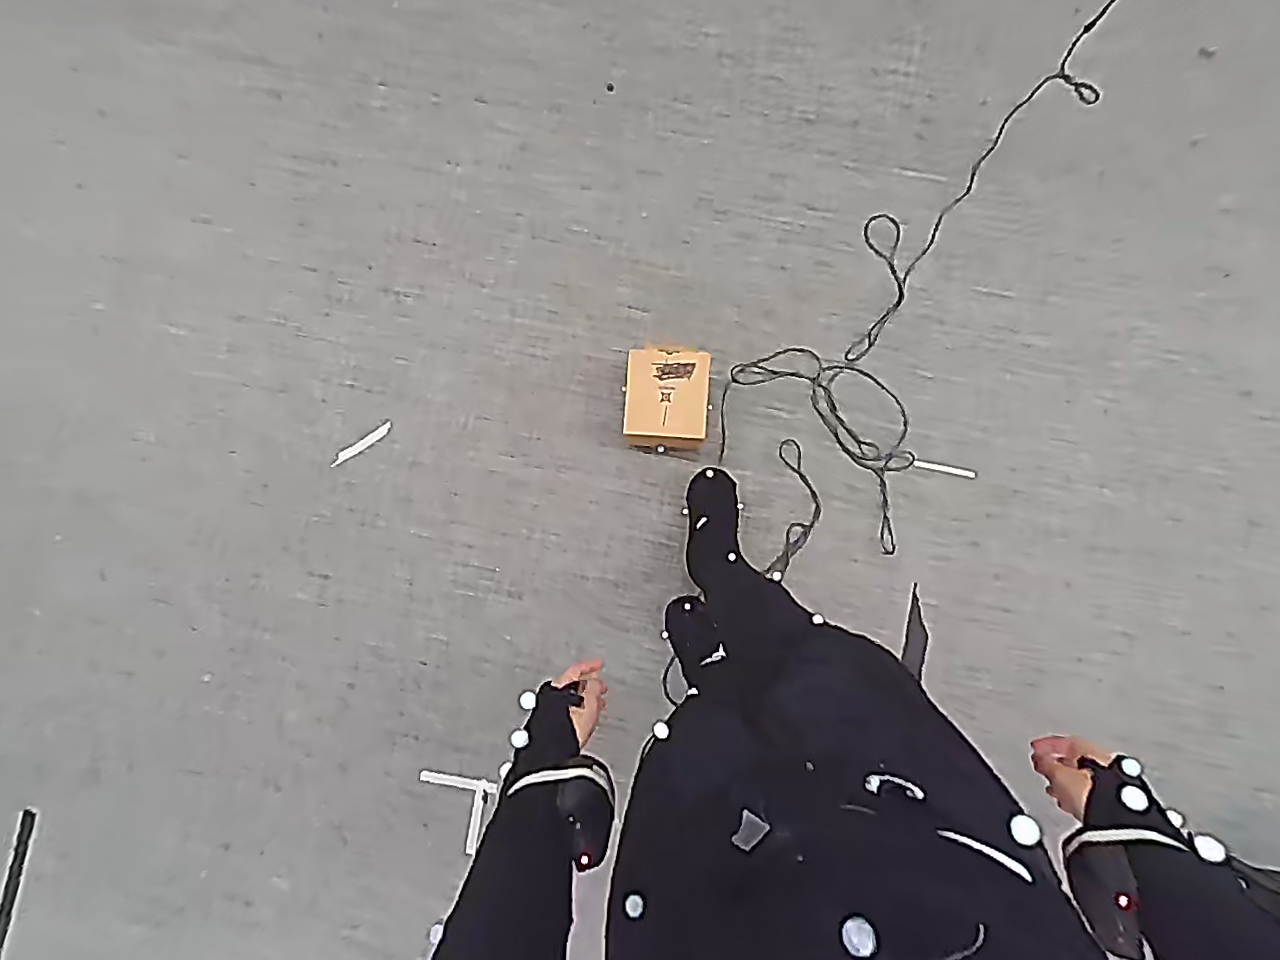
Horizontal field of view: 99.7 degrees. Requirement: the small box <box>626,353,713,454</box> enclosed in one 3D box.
[{"bbox_3d":[0.062,-0.158,1.159,0.168,0.176,0.179,4,86,4],"label":"small box"}]
